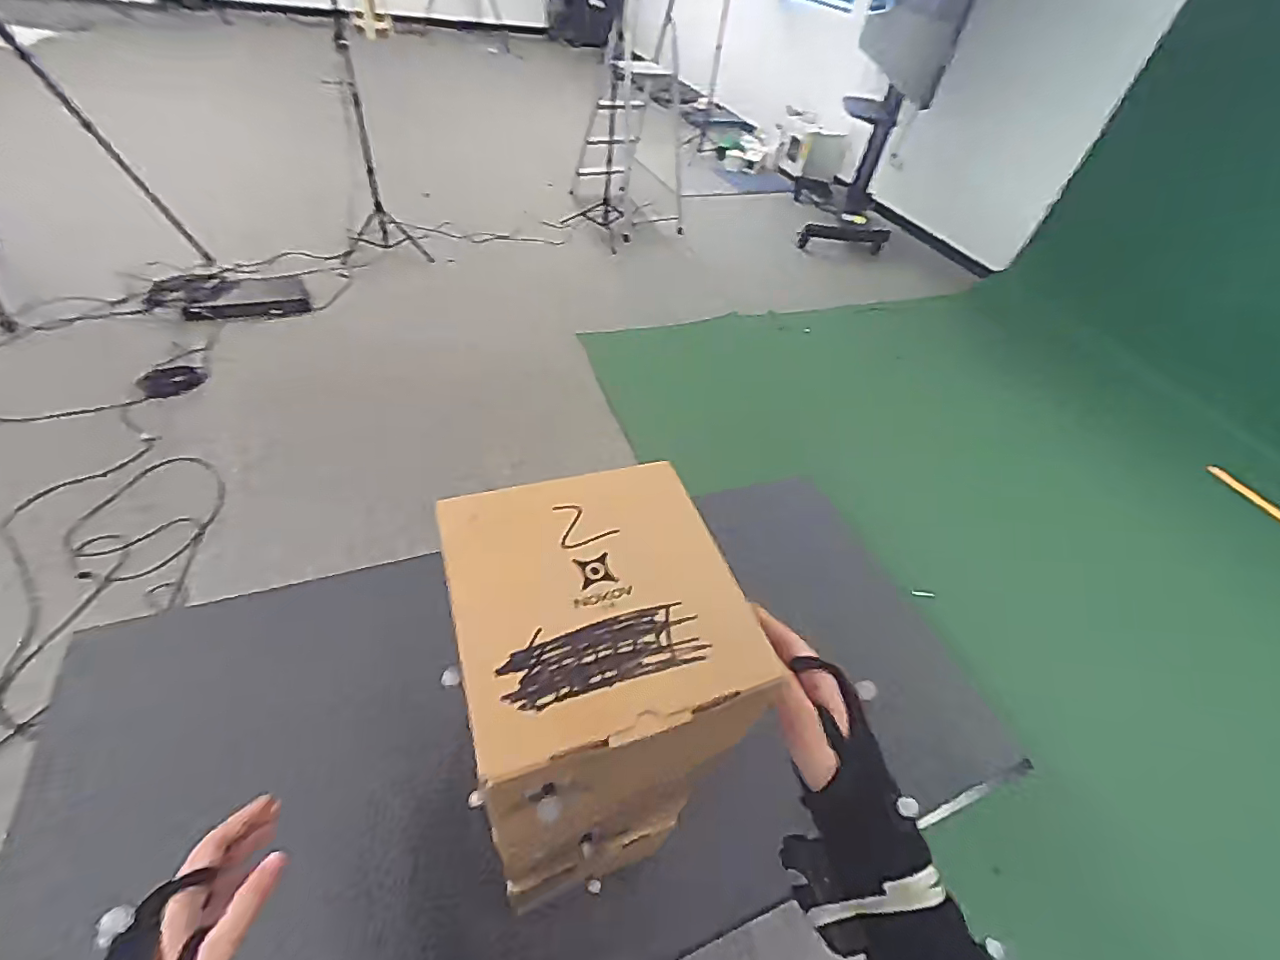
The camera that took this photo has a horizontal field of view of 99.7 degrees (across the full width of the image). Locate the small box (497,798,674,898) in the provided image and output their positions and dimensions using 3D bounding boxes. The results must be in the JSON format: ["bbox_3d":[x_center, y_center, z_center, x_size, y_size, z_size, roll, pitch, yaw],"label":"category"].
[{"bbox_3d":[-0.081,0.331,0.611,0.168,0.176,0.179,-12,50,-19],"label":"small box"}]

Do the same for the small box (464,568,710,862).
[{"bbox_3d":[-0.060,0.214,0.500,0.168,0.176,0.179,-11,50,-19],"label":"small box"}]
